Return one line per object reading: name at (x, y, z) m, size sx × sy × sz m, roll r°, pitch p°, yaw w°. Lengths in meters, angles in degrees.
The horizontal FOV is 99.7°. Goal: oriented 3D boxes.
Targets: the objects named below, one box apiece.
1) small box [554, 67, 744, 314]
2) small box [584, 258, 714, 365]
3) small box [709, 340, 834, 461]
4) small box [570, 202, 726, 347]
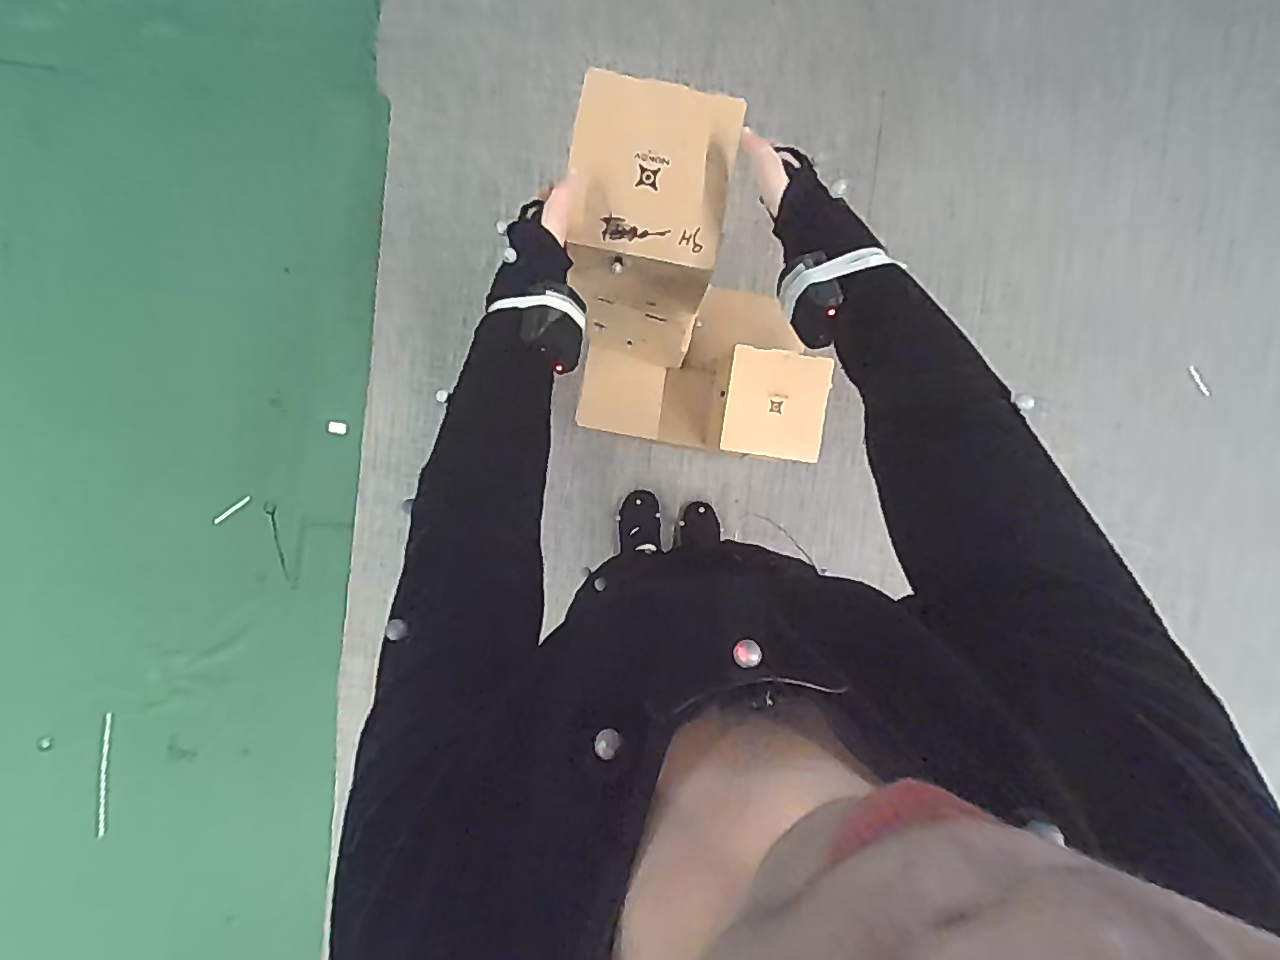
small box at (0.009, -0.313, 0.619) m, size 0.168 × 0.176 × 0.179 m, roll 11°, pitch 91°, yaw 0°
small box at (0.014, -0.313, 0.950) m, size 0.179 × 0.176 × 0.168 m, roll 16°, pitch 92°, yaw -2°
small box at (0.221, -0.132, 0.956) m, size 0.168 × 0.176 × 0.179 m, roll 8°, pitch 92°, yaw -1°
small box at (0.011, -0.311, 0.785) m, size 0.168 × 0.176 × 0.179 m, roll 18°, pitch 90°, yaw -1°
